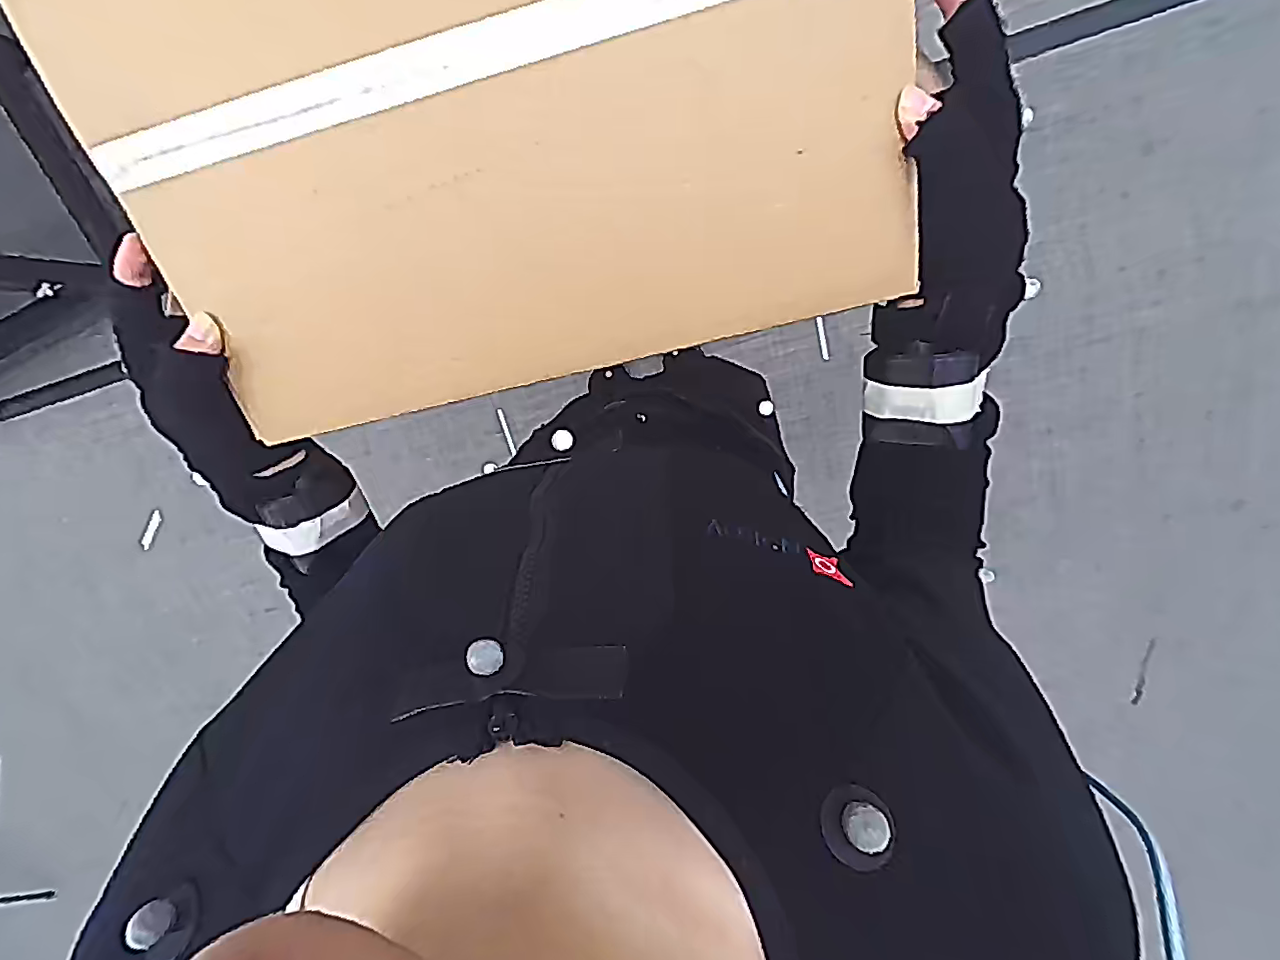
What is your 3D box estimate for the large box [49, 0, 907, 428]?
[{"bbox_3d":[-0.075,-0.271,0.404,0.408,0.320,0.320,-12,115,7],"label":"large box"}]
